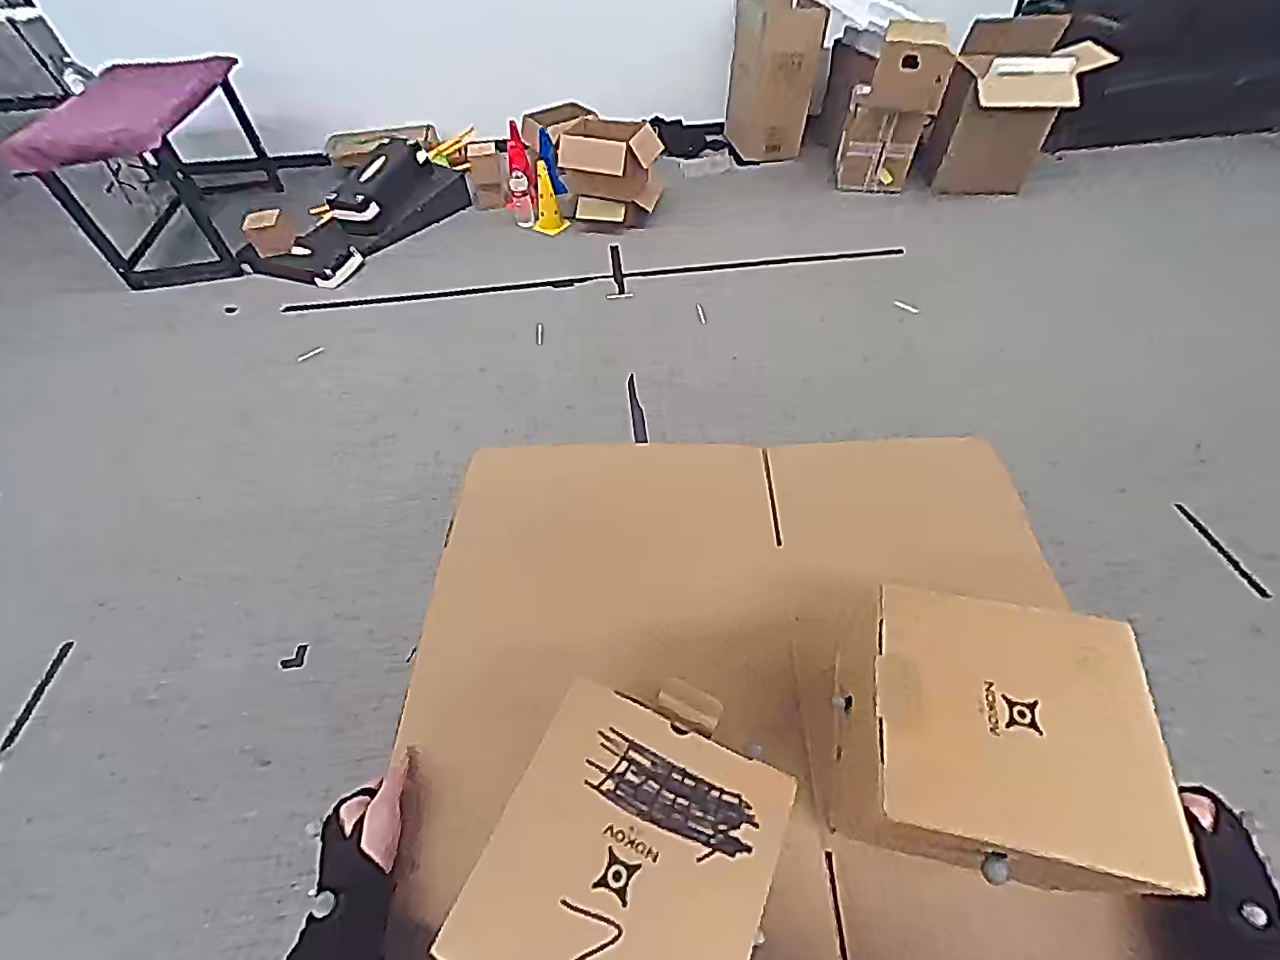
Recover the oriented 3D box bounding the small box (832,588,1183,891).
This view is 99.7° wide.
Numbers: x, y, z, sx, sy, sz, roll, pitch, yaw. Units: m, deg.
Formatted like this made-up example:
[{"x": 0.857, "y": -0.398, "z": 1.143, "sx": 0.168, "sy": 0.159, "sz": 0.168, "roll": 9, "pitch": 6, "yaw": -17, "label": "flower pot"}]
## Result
[{"x": 0.267, "y": 0.211, "z": 0.446, "sx": 0.179, "sy": 0.176, "sz": 0.168, "roll": 7, "pitch": 56, "yaw": 13, "label": "small box"}]
